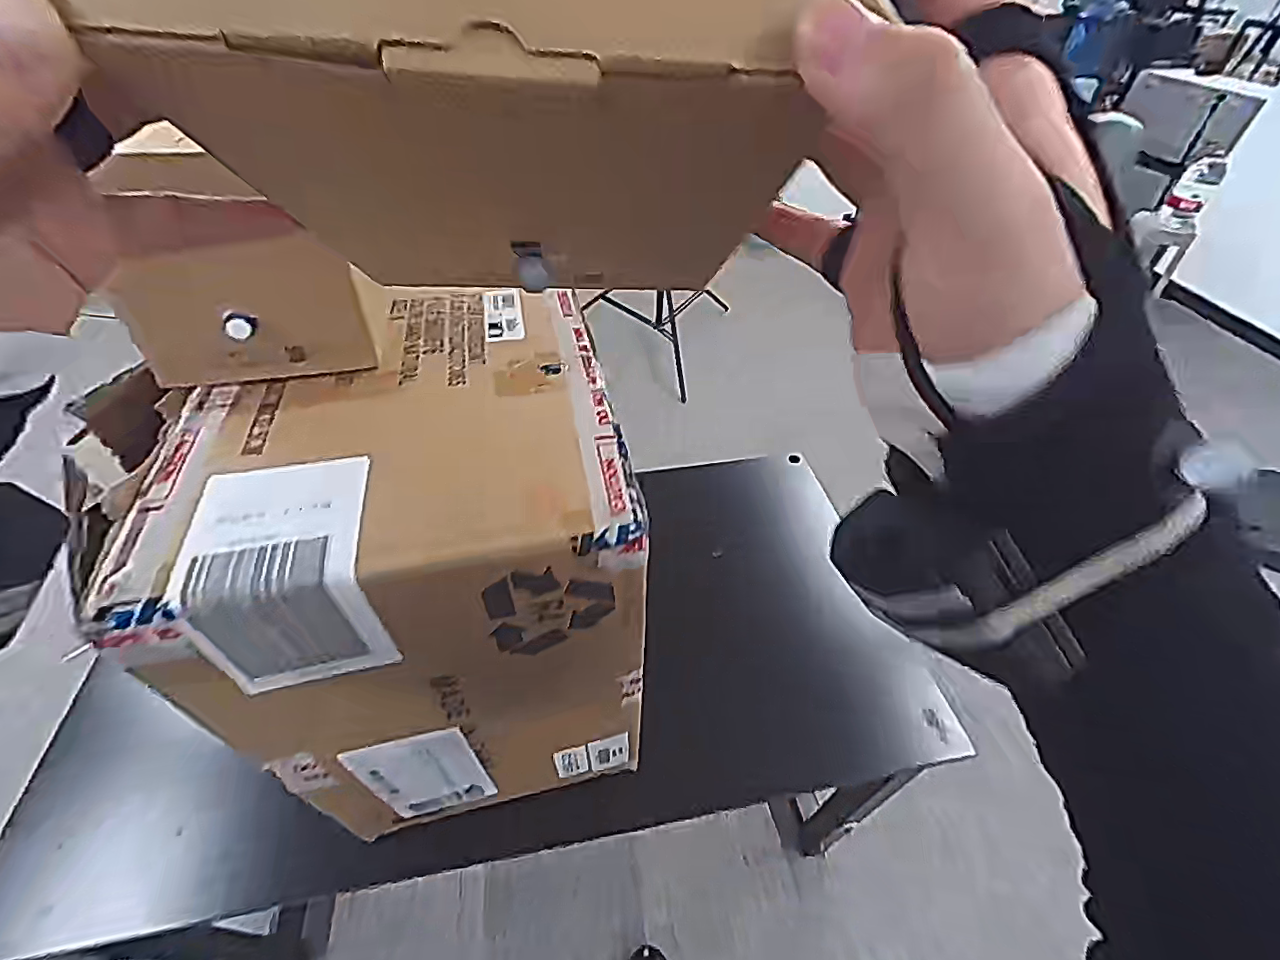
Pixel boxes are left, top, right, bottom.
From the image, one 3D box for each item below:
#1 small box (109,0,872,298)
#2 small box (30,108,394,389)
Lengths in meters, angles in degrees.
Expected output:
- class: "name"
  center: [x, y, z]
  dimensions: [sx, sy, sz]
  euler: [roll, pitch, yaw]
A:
- class: "small box"
  center: [-0.037, -0.180, 0.194]
  dimensions: [0.168, 0.179, 0.176]
  euler: [-1, 3, -6]
- class: "small box"
  center: [-0.317, -0.197, 0.455]
  dimensions: [0.168, 0.176, 0.179]
  euler: [-9, 44, -14]
